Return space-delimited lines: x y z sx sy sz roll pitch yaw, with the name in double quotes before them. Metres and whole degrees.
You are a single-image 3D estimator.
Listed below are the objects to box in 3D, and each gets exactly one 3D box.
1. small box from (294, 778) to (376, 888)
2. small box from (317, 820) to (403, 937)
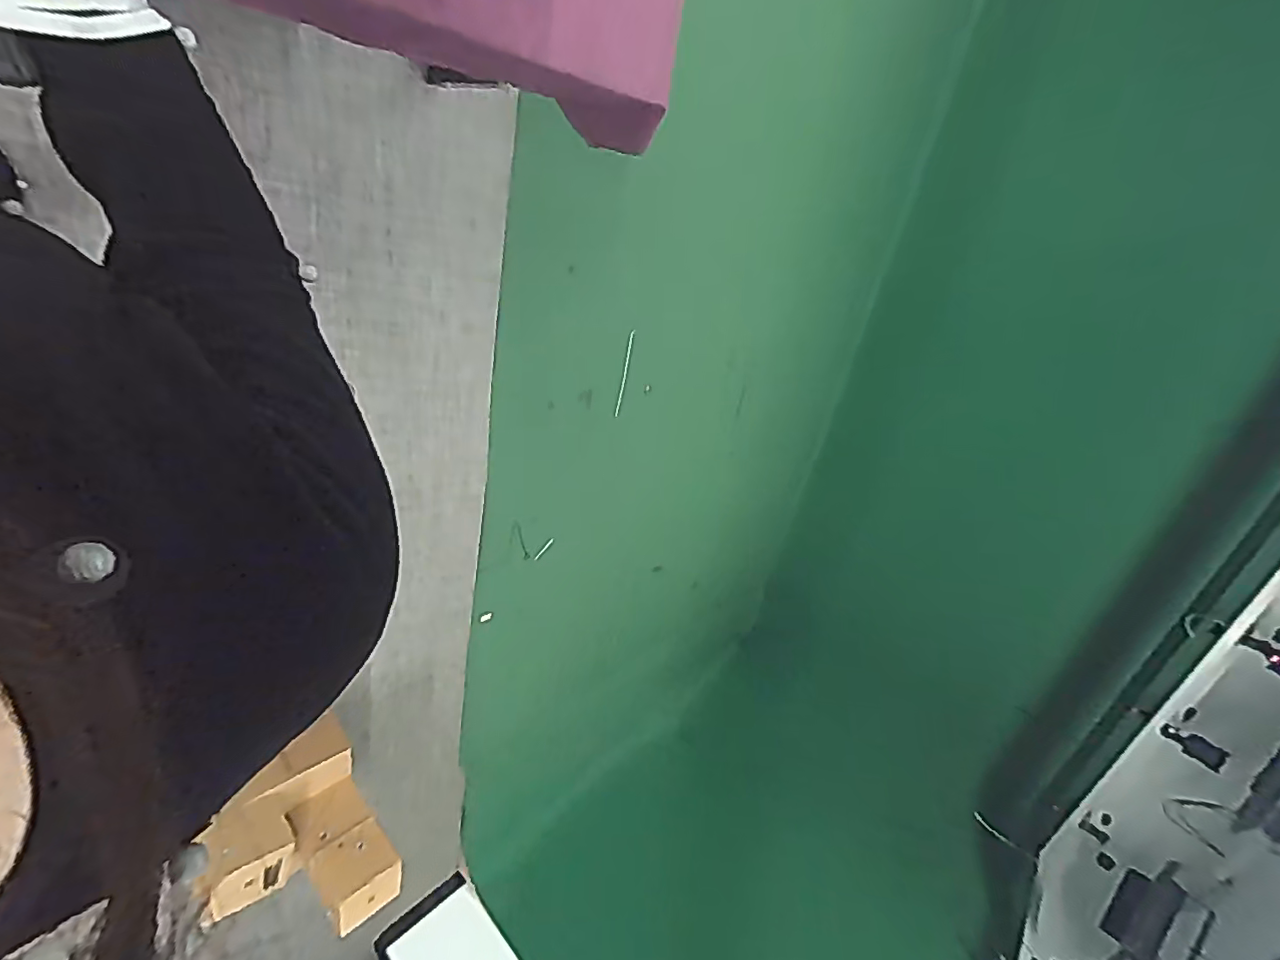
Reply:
"small box" -0.916 1.050 1.620 0.179 0.176 0.168 -18 131 -46
"small box" -0.796 1.120 1.534 0.168 0.176 0.179 -16 128 -47
